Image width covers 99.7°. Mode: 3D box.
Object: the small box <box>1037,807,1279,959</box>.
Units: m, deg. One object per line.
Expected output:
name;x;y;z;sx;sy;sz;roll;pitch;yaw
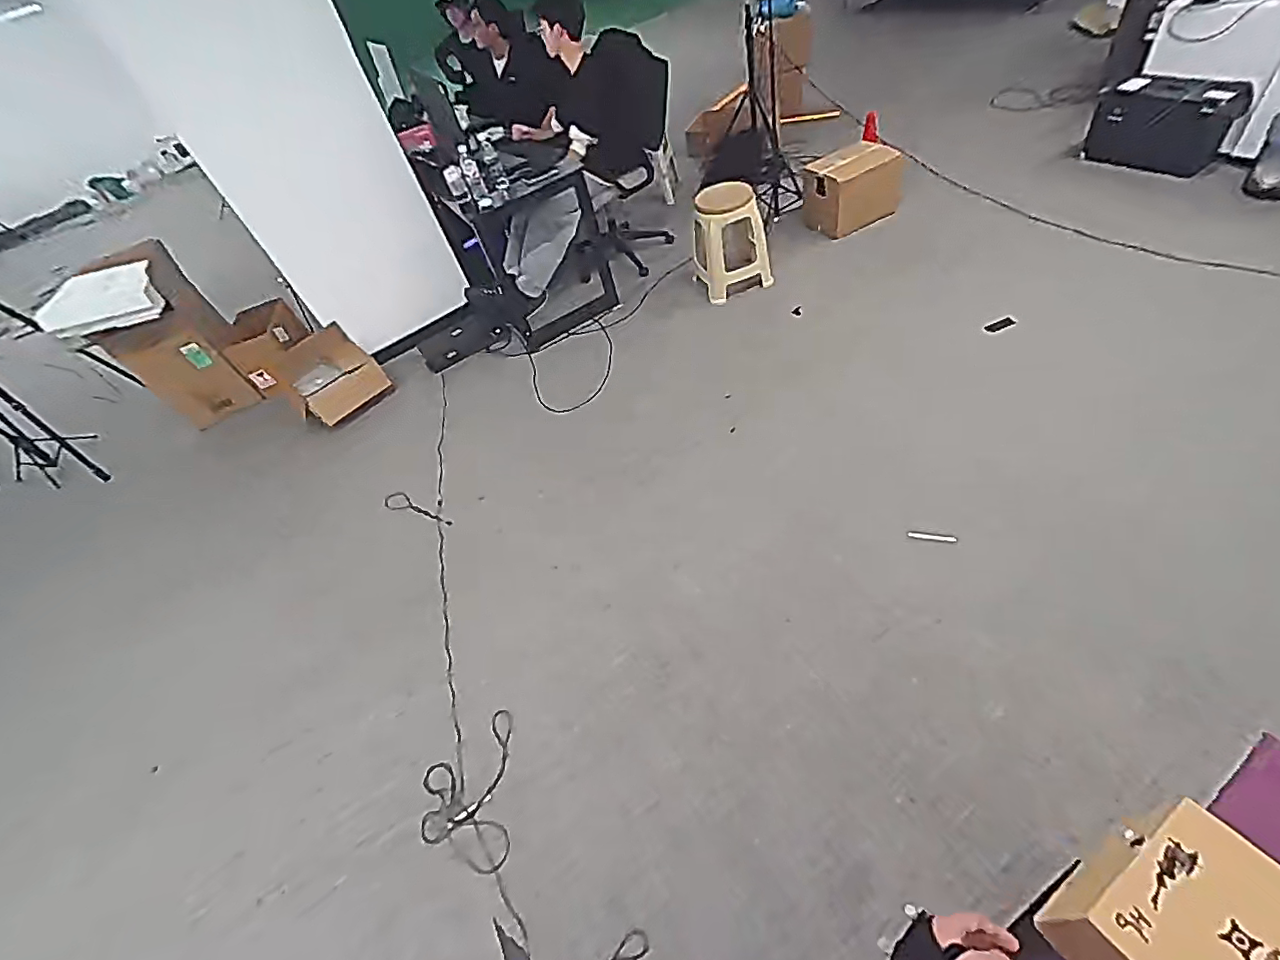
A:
small box;0.538;0.457;0.517;0.168;0.176;0.179;-34;50;-13
